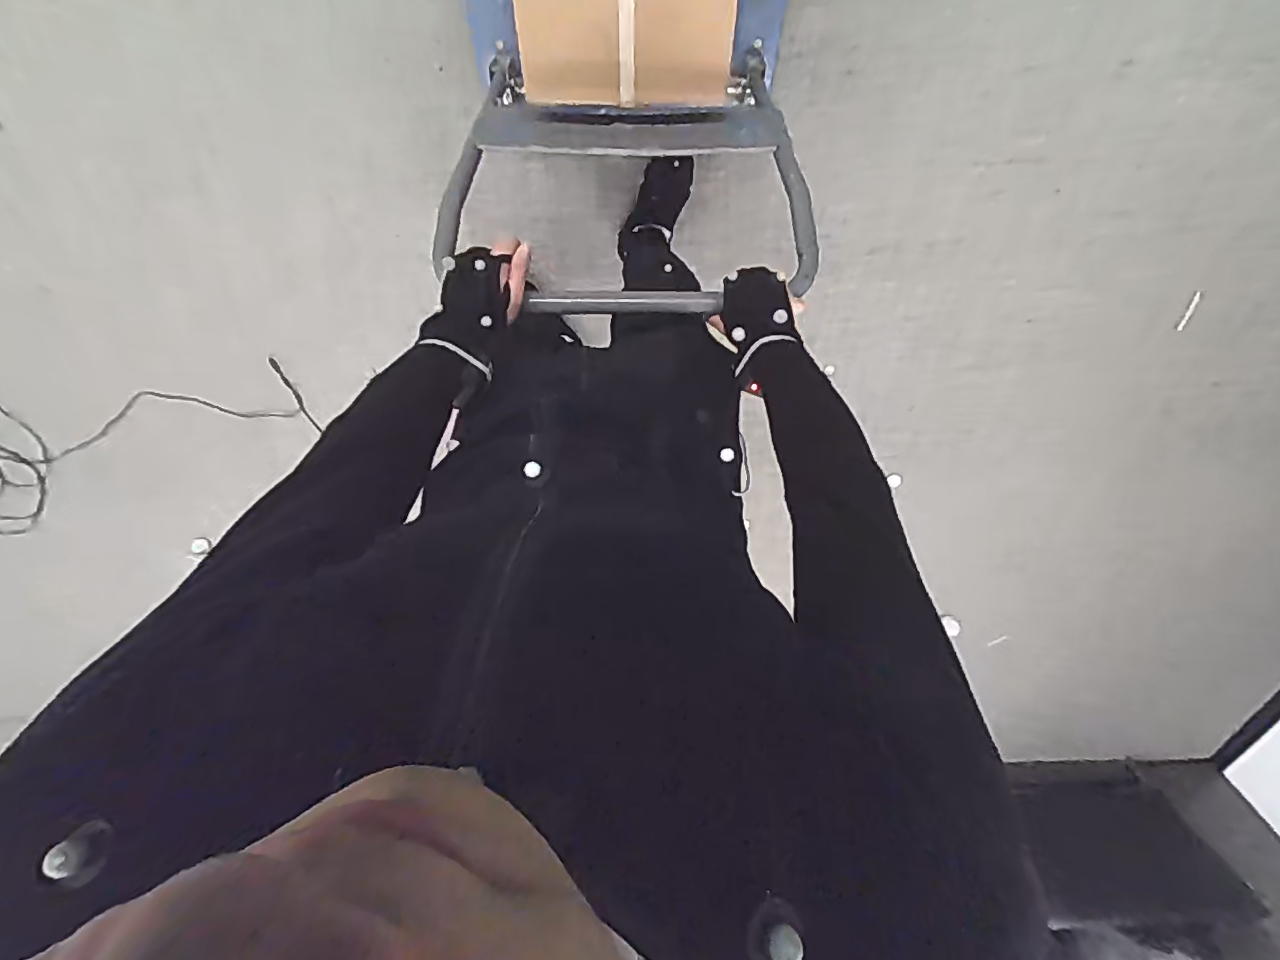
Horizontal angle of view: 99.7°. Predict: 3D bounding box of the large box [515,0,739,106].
[{"bbox_3d":[-0.016,-0.824,0.789,0.320,0.320,0.408,0,139,0],"label":"large box"}]
